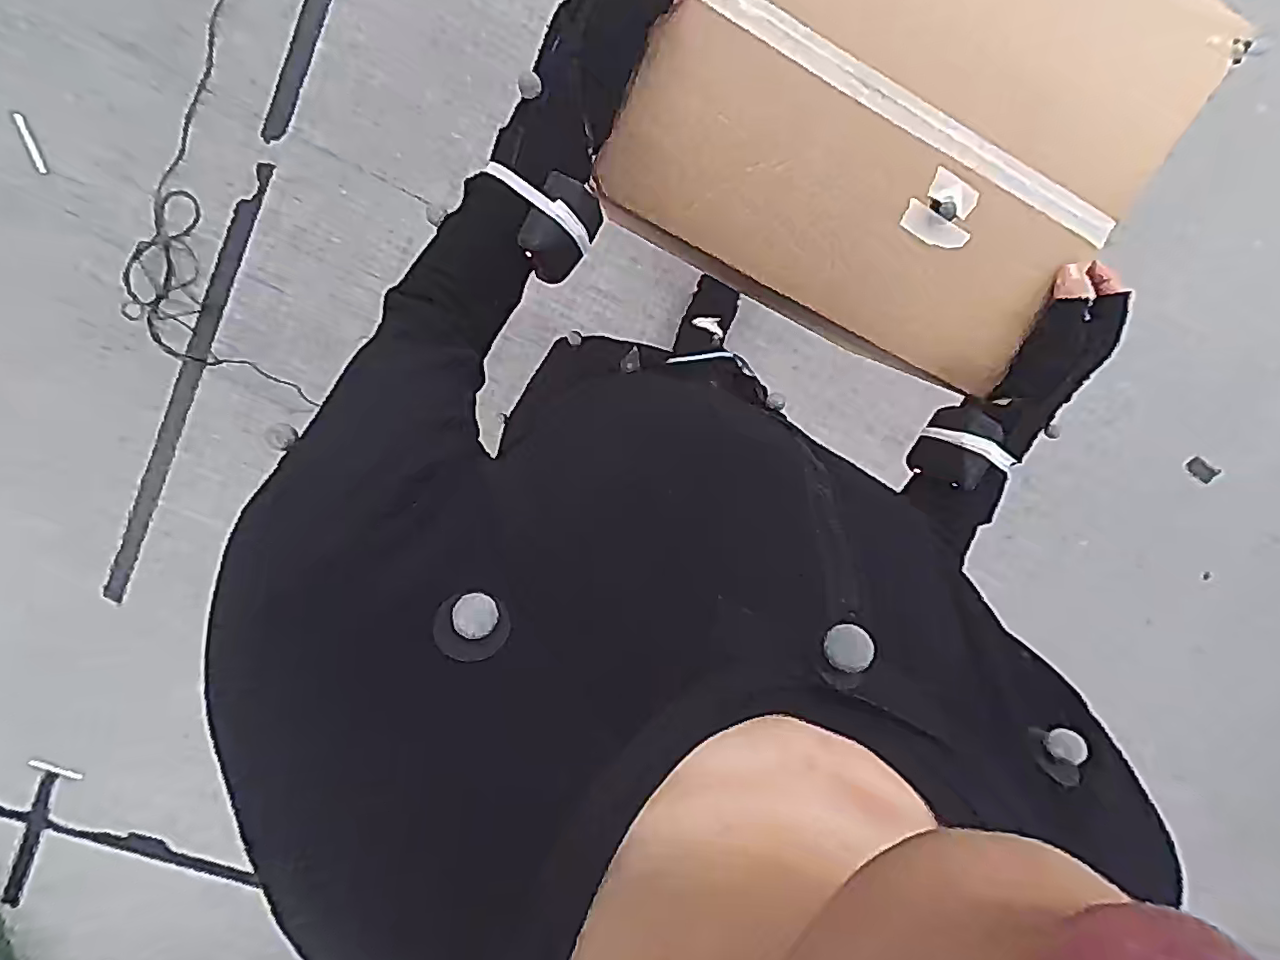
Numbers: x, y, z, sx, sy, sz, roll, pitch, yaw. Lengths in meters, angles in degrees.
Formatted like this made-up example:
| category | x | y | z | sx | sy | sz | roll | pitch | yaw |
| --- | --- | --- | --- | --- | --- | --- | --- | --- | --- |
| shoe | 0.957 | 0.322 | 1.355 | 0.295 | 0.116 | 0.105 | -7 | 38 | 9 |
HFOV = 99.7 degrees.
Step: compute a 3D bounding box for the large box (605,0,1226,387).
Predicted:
| category | x | y | z | sx | sy | sz | roll | pitch | yaw |
| --- | --- | --- | --- | --- | --- | --- | --- | --- | --- |
| large box | 0.207 | -0.346 | 0.569 | 0.408 | 0.320 | 0.320 | 25 | 110 | -11 |
